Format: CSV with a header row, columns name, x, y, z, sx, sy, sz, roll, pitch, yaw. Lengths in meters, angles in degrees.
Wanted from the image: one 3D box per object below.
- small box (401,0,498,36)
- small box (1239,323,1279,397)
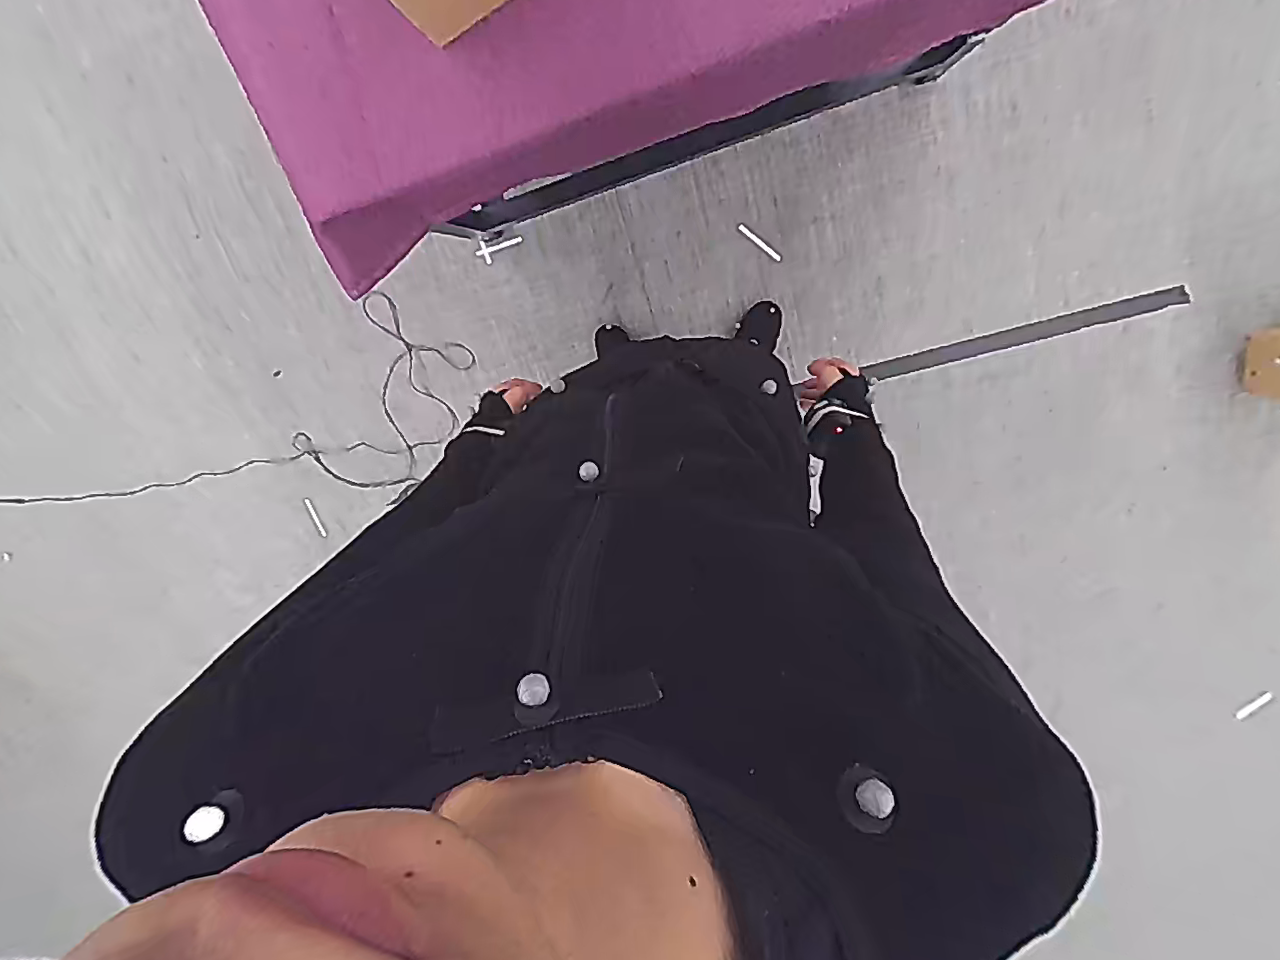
name,x,y,z,sx,sy,sz,roll,pitch,yaw
small box,-0.228,-0.642,0.587,0.179,0.176,0.168,-25,106,12
small box,1.659,-0.301,1.337,0.179,0.176,0.168,-11,109,8
